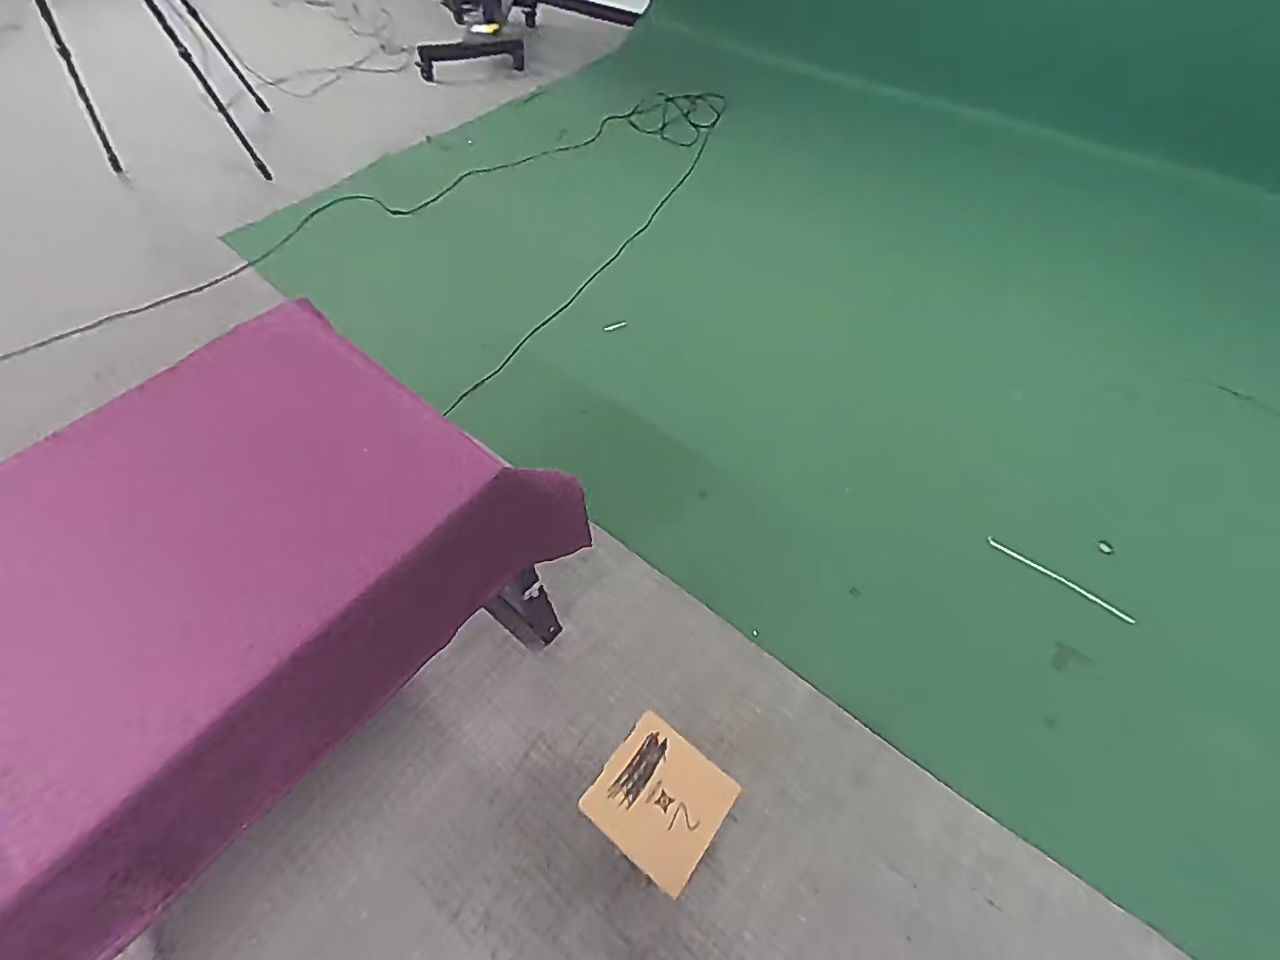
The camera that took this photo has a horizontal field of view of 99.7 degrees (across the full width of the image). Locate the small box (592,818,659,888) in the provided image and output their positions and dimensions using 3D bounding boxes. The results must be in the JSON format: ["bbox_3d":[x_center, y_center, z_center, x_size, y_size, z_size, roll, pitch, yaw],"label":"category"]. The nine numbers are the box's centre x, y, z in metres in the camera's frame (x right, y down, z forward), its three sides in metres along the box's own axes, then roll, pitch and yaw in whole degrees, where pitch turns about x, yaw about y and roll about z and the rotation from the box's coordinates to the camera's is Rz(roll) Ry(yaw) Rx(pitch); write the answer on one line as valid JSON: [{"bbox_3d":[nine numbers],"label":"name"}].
[{"bbox_3d":[0.024,0.683,1.101,0.168,0.176,0.179,33,62,20],"label":"small box"}]

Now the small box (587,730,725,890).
[{"bbox_3d":[0.027,0.586,0.970,0.179,0.176,0.168,35,62,22],"label":"small box"}]
